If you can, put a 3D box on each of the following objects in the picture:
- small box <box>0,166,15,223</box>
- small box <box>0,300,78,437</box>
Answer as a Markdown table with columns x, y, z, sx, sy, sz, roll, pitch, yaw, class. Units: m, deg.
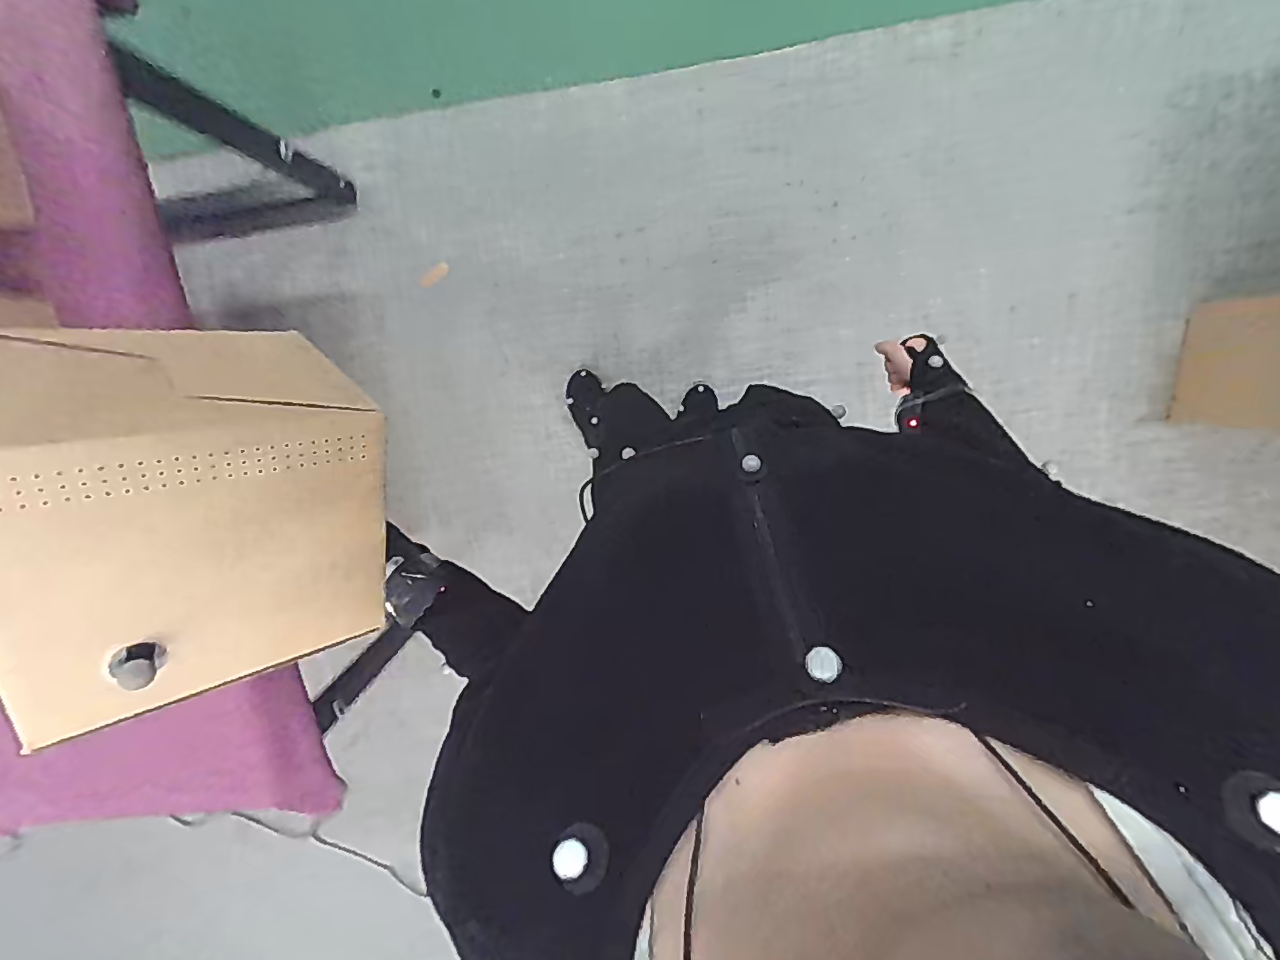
| x | y | z | sx | sy | sz | roll | pitch | yaw | class |
| --- | --- | --- | --- | --- | --- | --- | --- | --- | --- |
| -0.899 | -0.397 | 0.618 | 0.168 | 0.176 | 0.179 | -5 | 102 | 3 | small box |
| -0.887 | -0.131 | 0.673 | 0.179 | 0.176 | 0.168 | -11 | 101 | 3 | small box |
